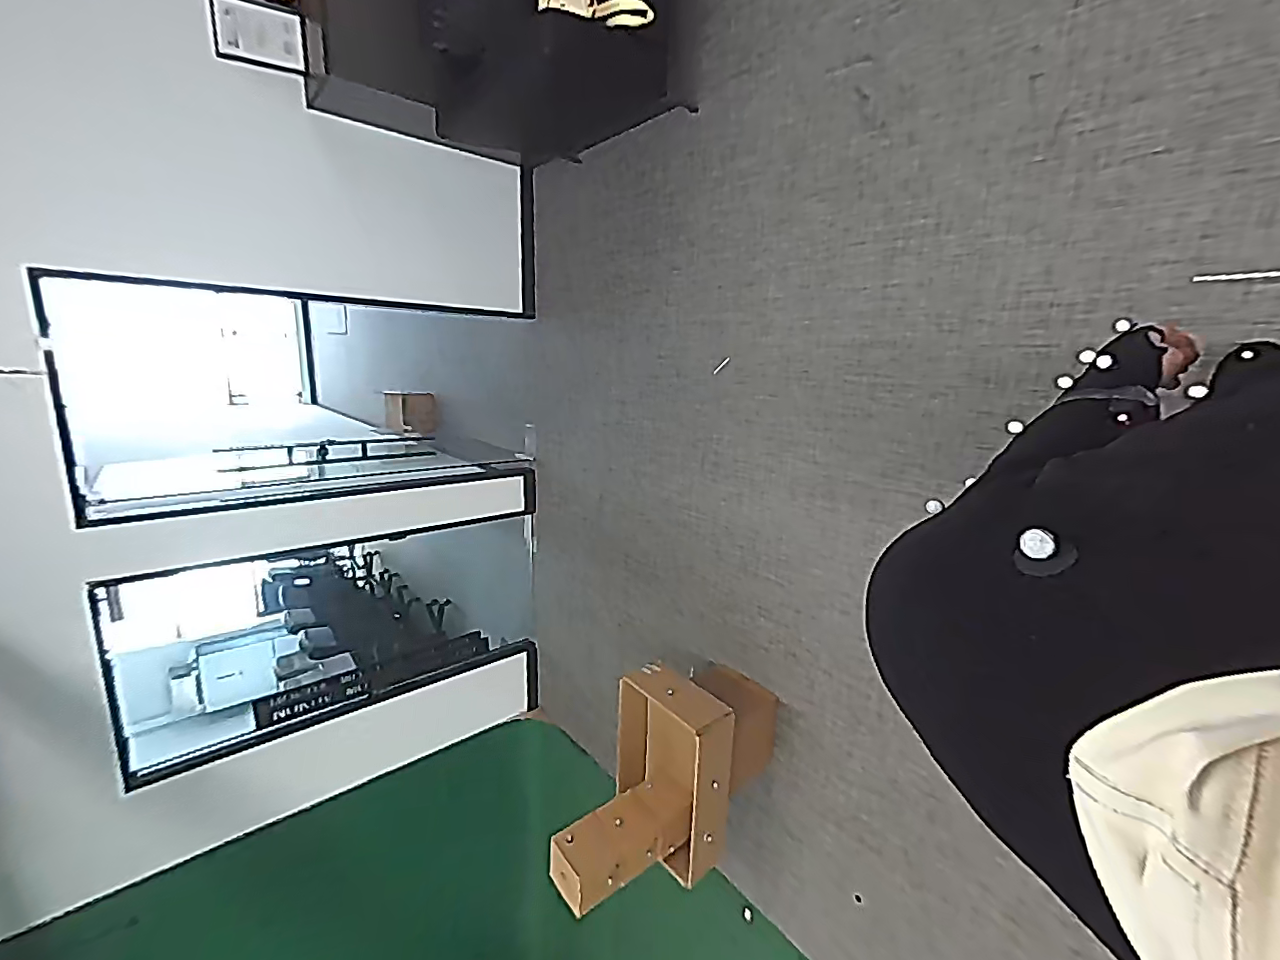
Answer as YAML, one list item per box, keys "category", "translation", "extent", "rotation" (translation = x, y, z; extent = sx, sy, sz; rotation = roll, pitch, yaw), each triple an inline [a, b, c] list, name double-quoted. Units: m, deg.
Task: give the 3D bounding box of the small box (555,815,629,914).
- category: "small box"
  translation: [-0.157, 1.229, 1.751]
  extent: [0.179, 0.176, 0.168]
  rotation: [22, 114, 47]

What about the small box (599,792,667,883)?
- category: "small box"
  translation: [-0.029, 1.209, 1.853]
  extent: [0.179, 0.176, 0.168]
  rotation: [20, 112, 48]
